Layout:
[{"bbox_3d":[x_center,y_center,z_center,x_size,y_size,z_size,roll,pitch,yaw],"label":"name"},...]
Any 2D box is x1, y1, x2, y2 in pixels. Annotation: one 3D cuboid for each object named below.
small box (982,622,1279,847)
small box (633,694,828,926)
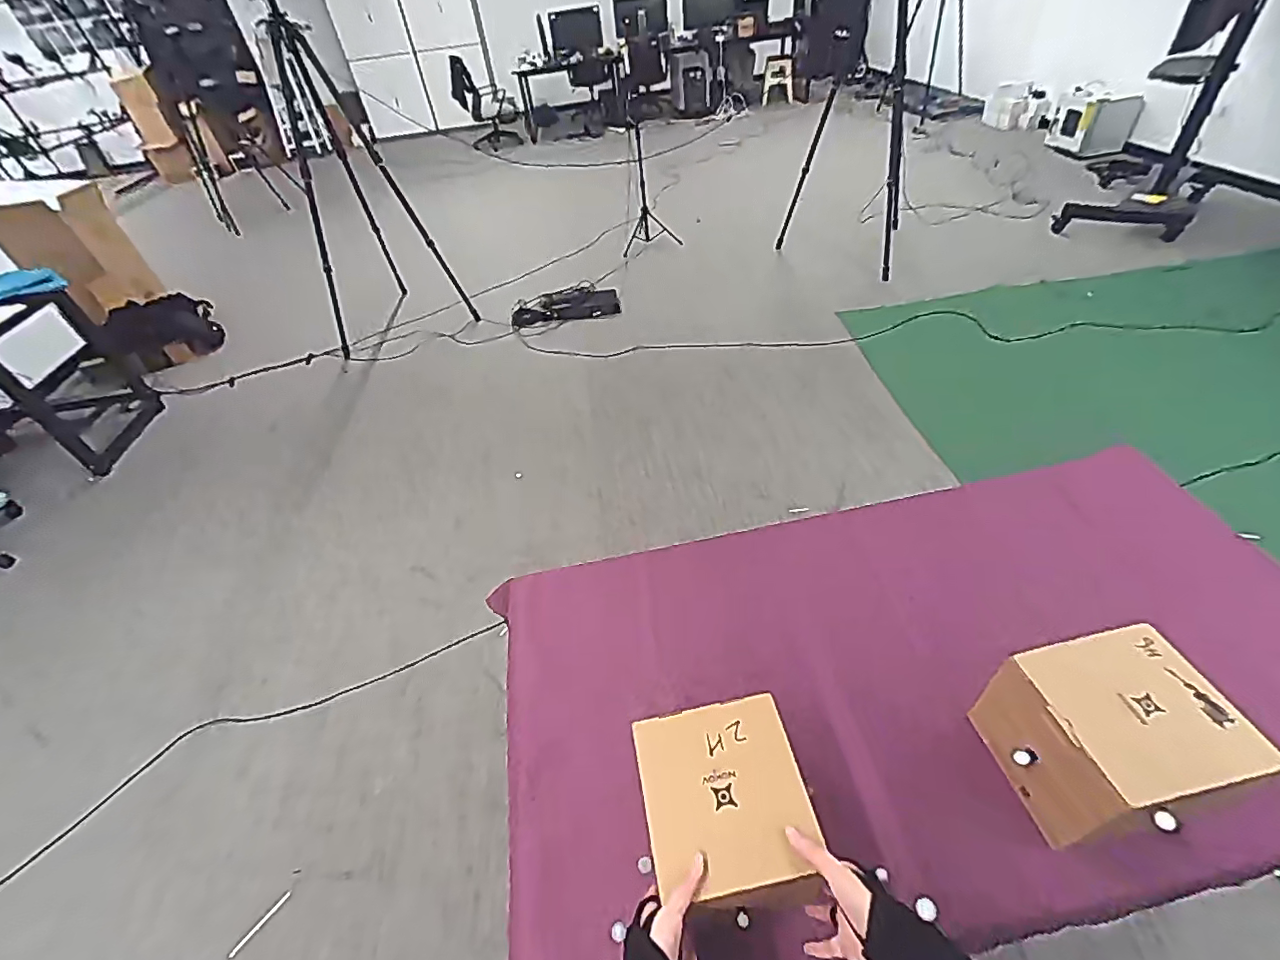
[{"bbox_3d":[0.533,0.295,0.624,0.179,0.176,0.168,-12,43,-3],"label":"small box"},{"bbox_3d":[0.093,0.376,0.612,0.168,0.176,0.179,-11,43,-3],"label":"small box"}]
